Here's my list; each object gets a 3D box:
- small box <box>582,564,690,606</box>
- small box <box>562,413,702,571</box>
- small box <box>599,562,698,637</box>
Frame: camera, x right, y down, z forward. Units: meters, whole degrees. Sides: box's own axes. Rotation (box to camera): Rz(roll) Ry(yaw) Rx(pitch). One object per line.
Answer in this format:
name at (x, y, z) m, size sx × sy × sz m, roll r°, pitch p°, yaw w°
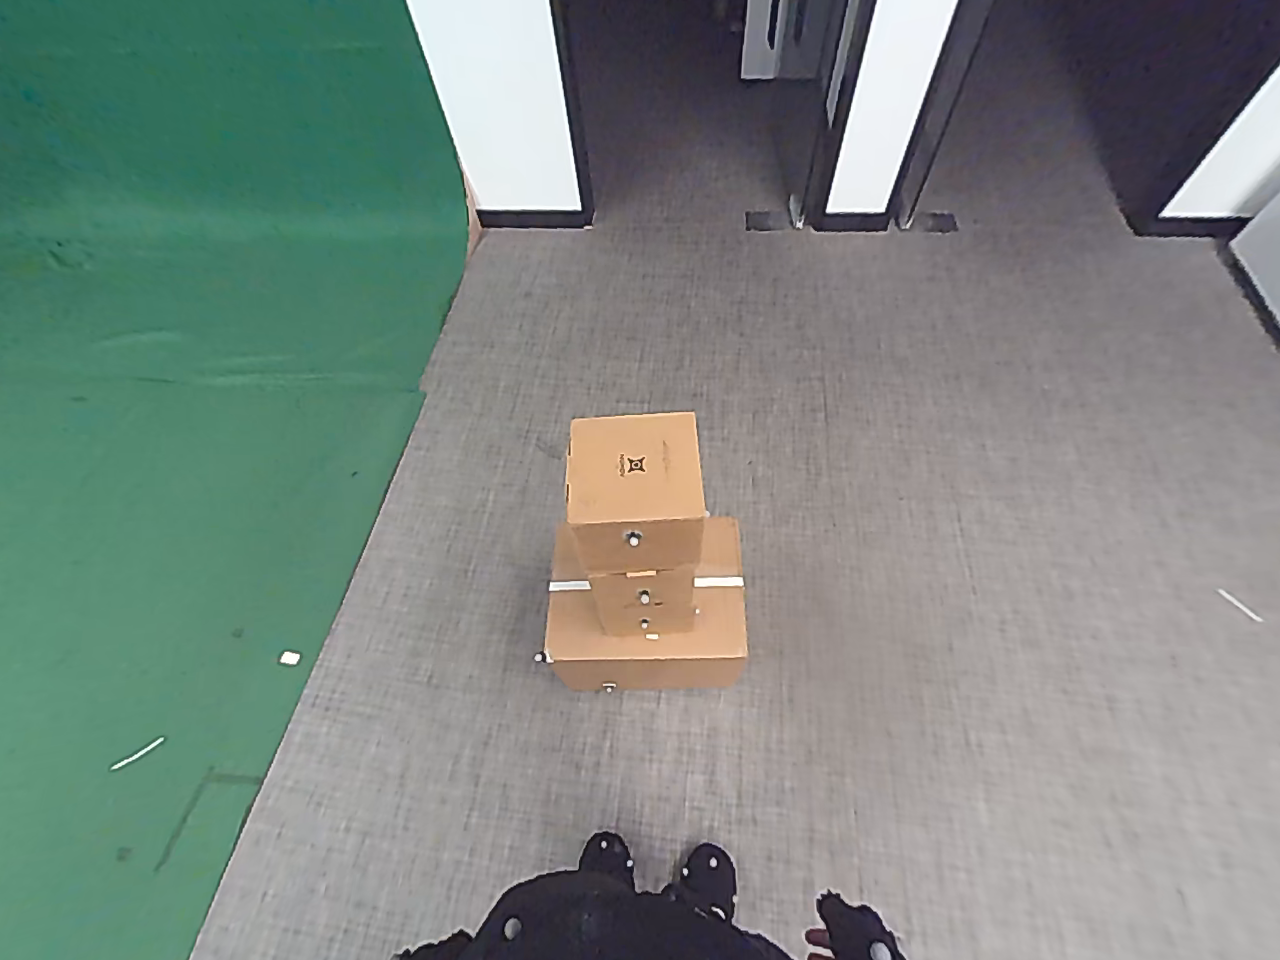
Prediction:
small box at (-0.003, 0.107, 0.911) m, size 0.168 × 0.176 × 0.179 m, roll -4°, pitch 59°, yaw 1°
small box at (-0.008, 0.024, 0.771) m, size 0.179 × 0.176 × 0.168 m, roll -3°, pitch 60°, yaw 1°
small box at (0.011, 0.196, 1.047) m, size 0.179 × 0.176 × 0.168 m, roll -6°, pitch 59°, yaw -1°
